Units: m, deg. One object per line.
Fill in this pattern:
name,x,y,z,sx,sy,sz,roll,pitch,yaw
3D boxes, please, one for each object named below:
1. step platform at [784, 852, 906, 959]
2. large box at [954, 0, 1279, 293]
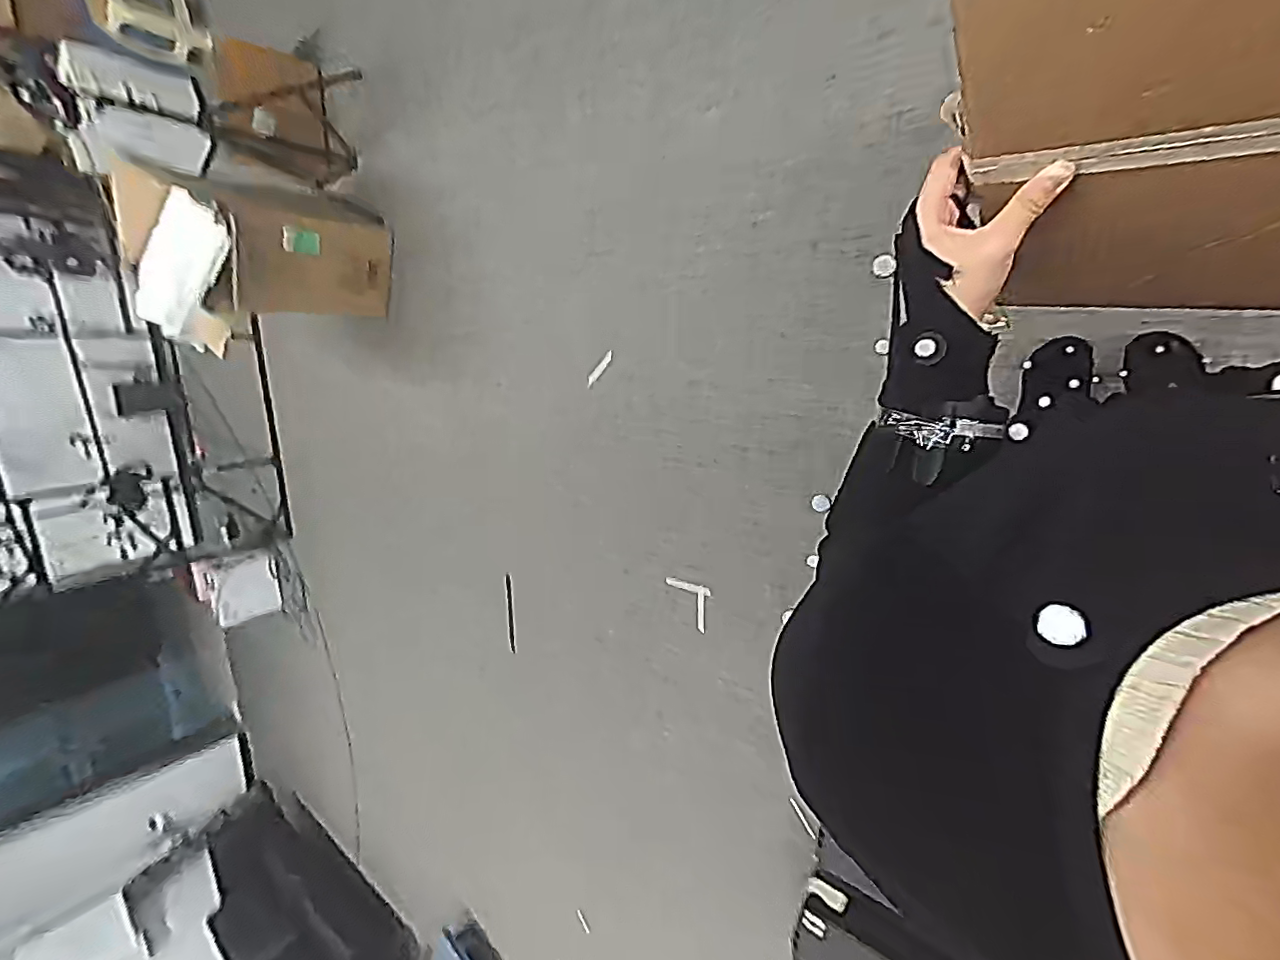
step platform,0.736,1.363,1.444,0.684,0.204,0.286,20,113,35
large box,0.385,-0.294,0.194,0.408,0.320,0.320,14,83,40
